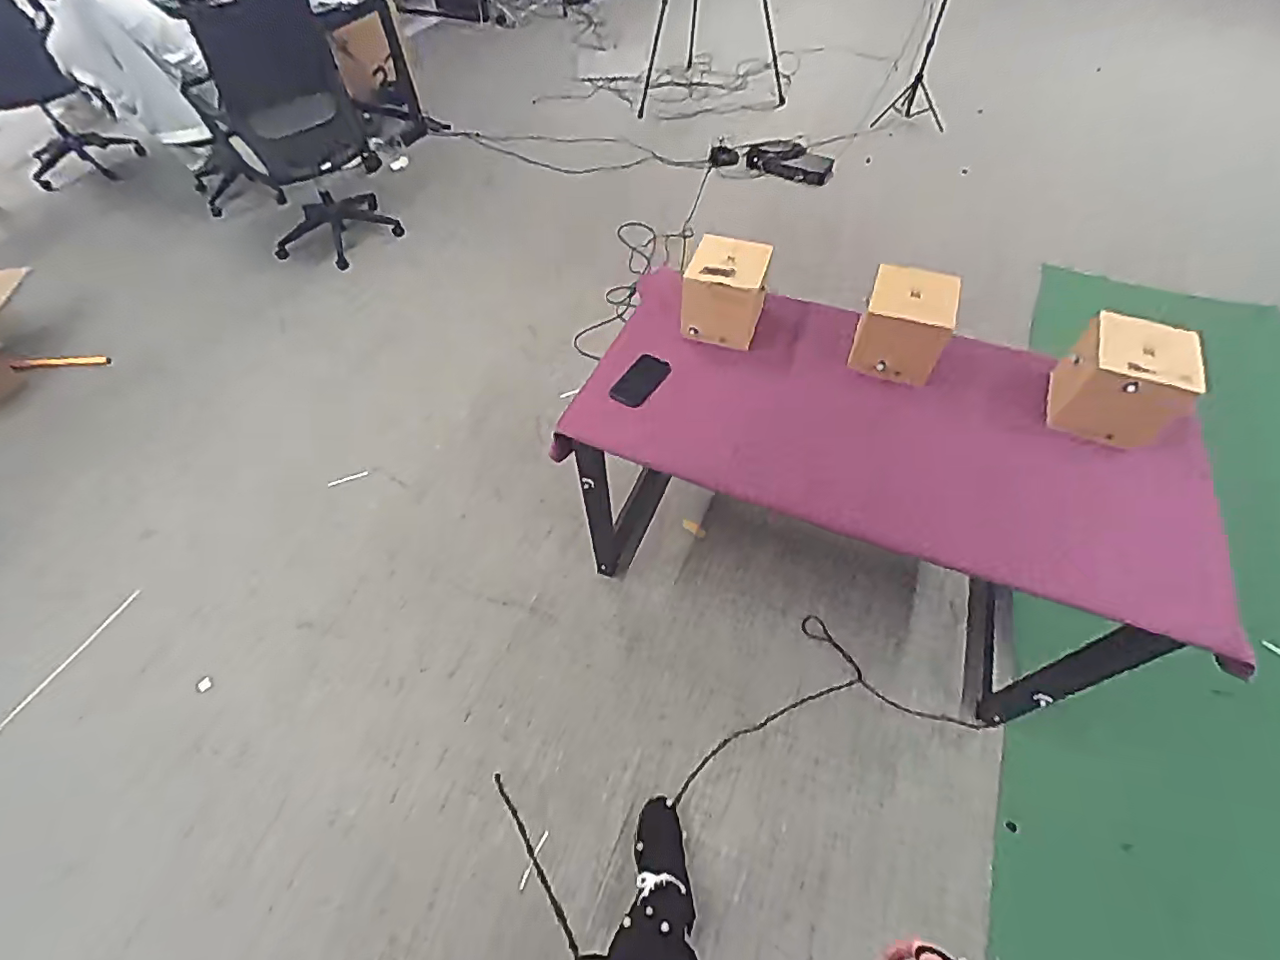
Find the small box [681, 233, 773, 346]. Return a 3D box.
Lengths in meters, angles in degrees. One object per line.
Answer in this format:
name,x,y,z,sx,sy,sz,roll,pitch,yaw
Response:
small box,0.197,-0.436,1.245,0.168,0.176,0.179,15,56,12

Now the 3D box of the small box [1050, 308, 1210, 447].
small box,0.932,-0.196,1.046,0.168,0.176,0.179,20,57,17

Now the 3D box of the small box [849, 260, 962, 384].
small box,0.564,-0.338,1.163,0.168,0.176,0.179,17,58,15
